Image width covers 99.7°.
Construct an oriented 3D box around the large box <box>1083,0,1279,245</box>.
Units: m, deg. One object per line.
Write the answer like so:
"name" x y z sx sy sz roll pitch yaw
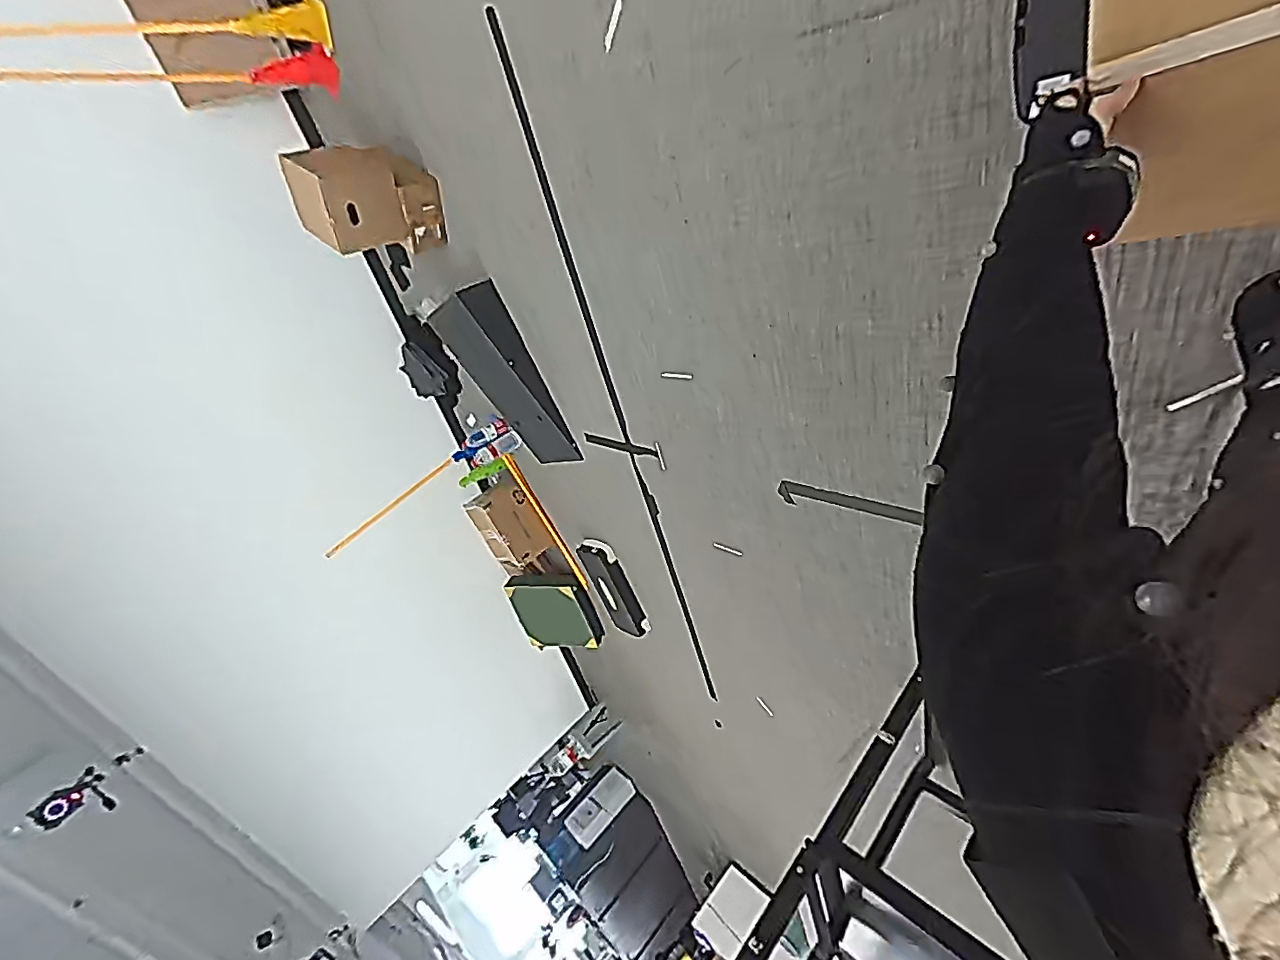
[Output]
"large box" 0.655 -0.428 0.434 0.408 0.320 0.320 13 131 48
